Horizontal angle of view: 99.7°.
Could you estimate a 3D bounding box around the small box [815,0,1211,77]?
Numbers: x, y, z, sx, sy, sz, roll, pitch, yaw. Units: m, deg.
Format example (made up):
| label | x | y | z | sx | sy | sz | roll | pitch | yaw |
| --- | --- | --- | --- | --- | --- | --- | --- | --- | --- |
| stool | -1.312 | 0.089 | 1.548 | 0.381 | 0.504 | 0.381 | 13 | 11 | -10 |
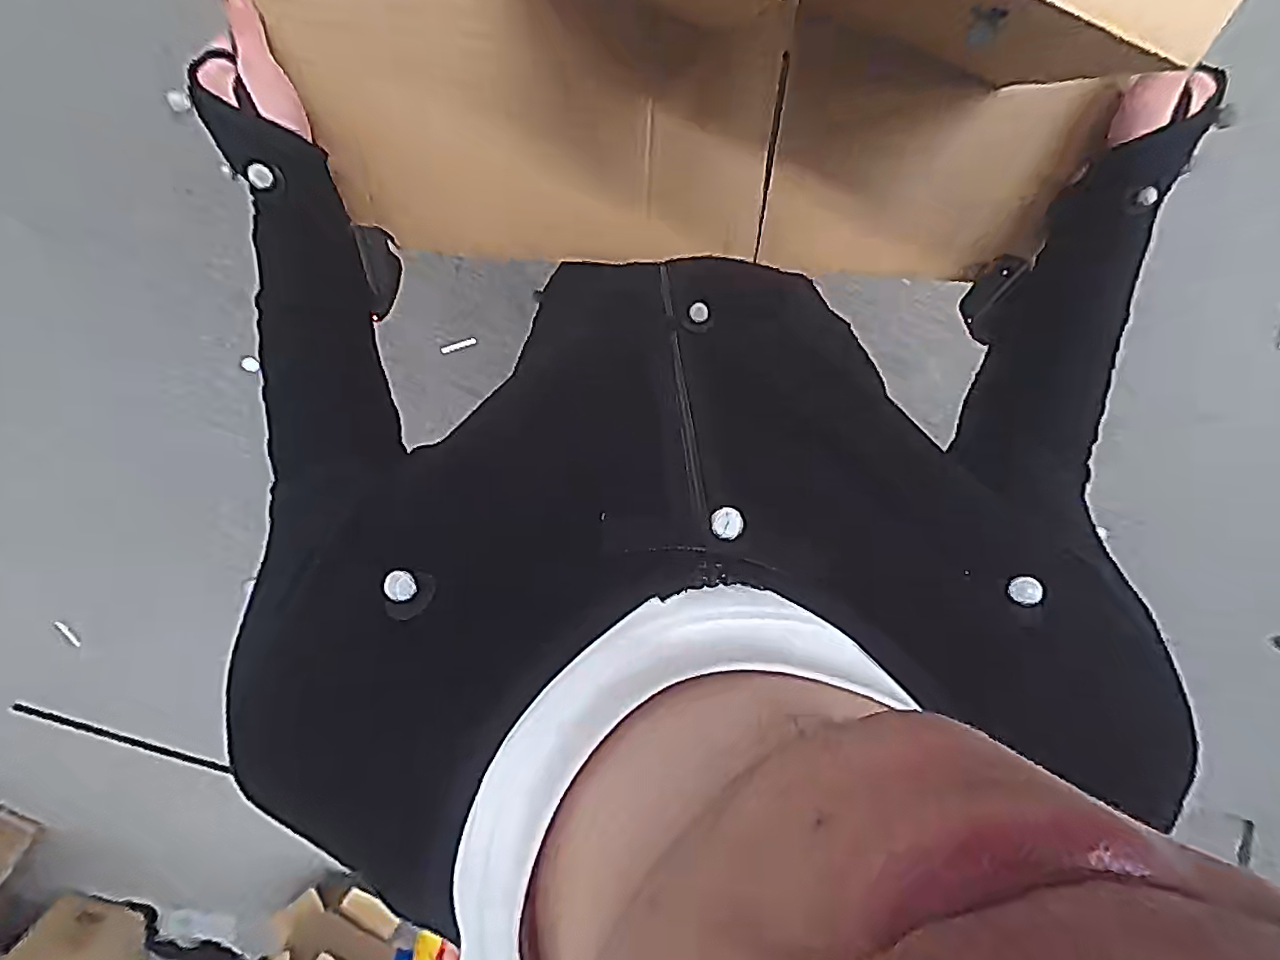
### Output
| label | x | y | z | sx | sy | sz | roll | pitch | yaw |
| --- | --- | --- | --- | --- | --- | --- | --- | --- | --- |
| small box | 0.222 | -0.348 | 0.297 | 0.179 | 0.176 | 0.168 | 15 | 123 | -9 |
